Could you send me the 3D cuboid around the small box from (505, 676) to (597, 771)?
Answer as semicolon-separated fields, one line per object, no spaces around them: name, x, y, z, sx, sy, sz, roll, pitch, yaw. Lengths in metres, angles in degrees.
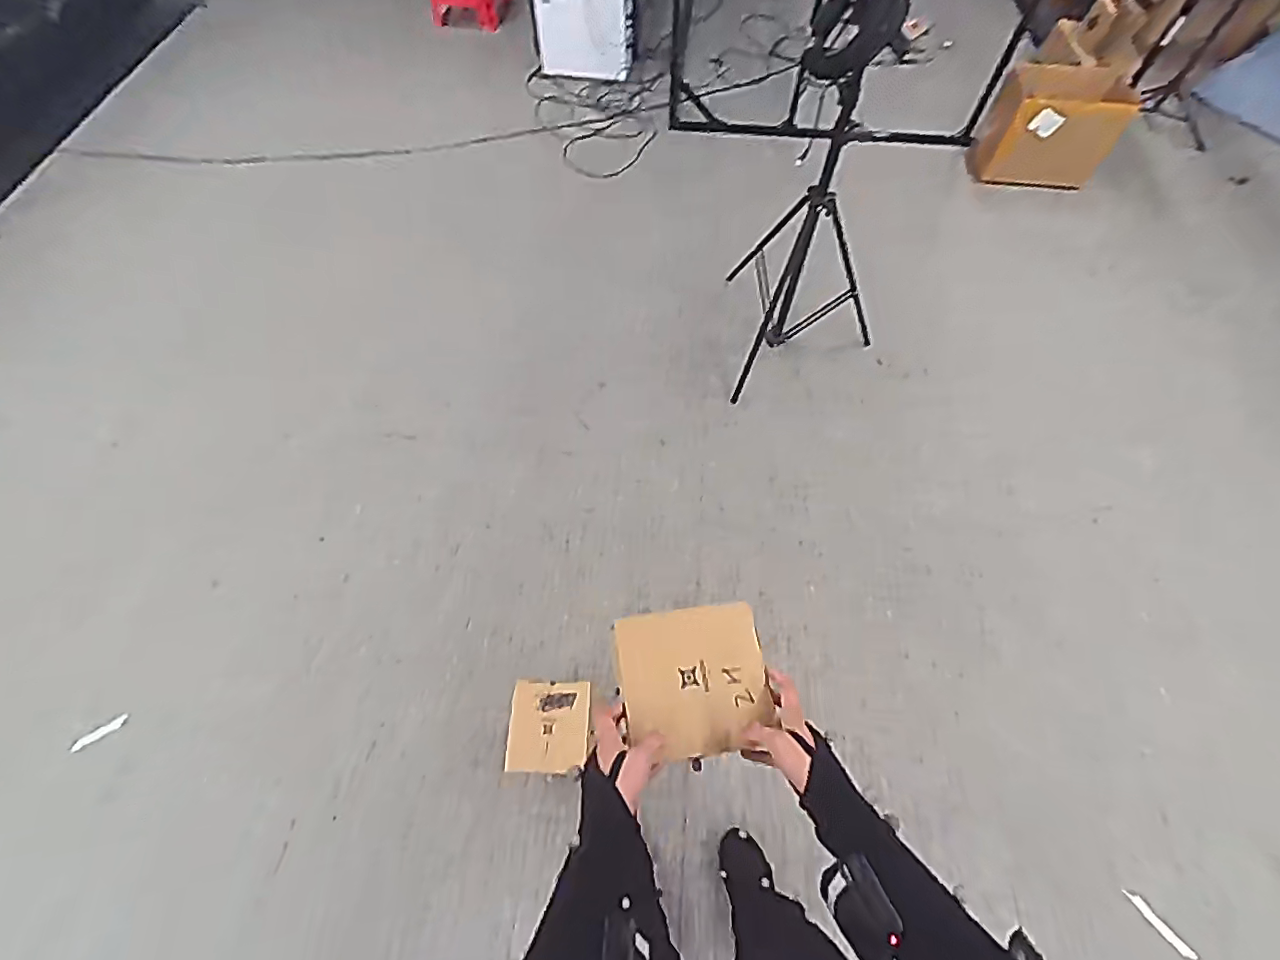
small box;-0.187;0.539;1.193;0.168;0.176;0.179;1;63;2

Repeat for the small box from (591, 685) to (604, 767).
small box;-0.178;0.611;1.340;0.168;0.176;0.179;0;62;1

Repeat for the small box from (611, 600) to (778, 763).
small box;0.056;0.268;0.706;0.179;0.176;0.168;-5;63;-8
